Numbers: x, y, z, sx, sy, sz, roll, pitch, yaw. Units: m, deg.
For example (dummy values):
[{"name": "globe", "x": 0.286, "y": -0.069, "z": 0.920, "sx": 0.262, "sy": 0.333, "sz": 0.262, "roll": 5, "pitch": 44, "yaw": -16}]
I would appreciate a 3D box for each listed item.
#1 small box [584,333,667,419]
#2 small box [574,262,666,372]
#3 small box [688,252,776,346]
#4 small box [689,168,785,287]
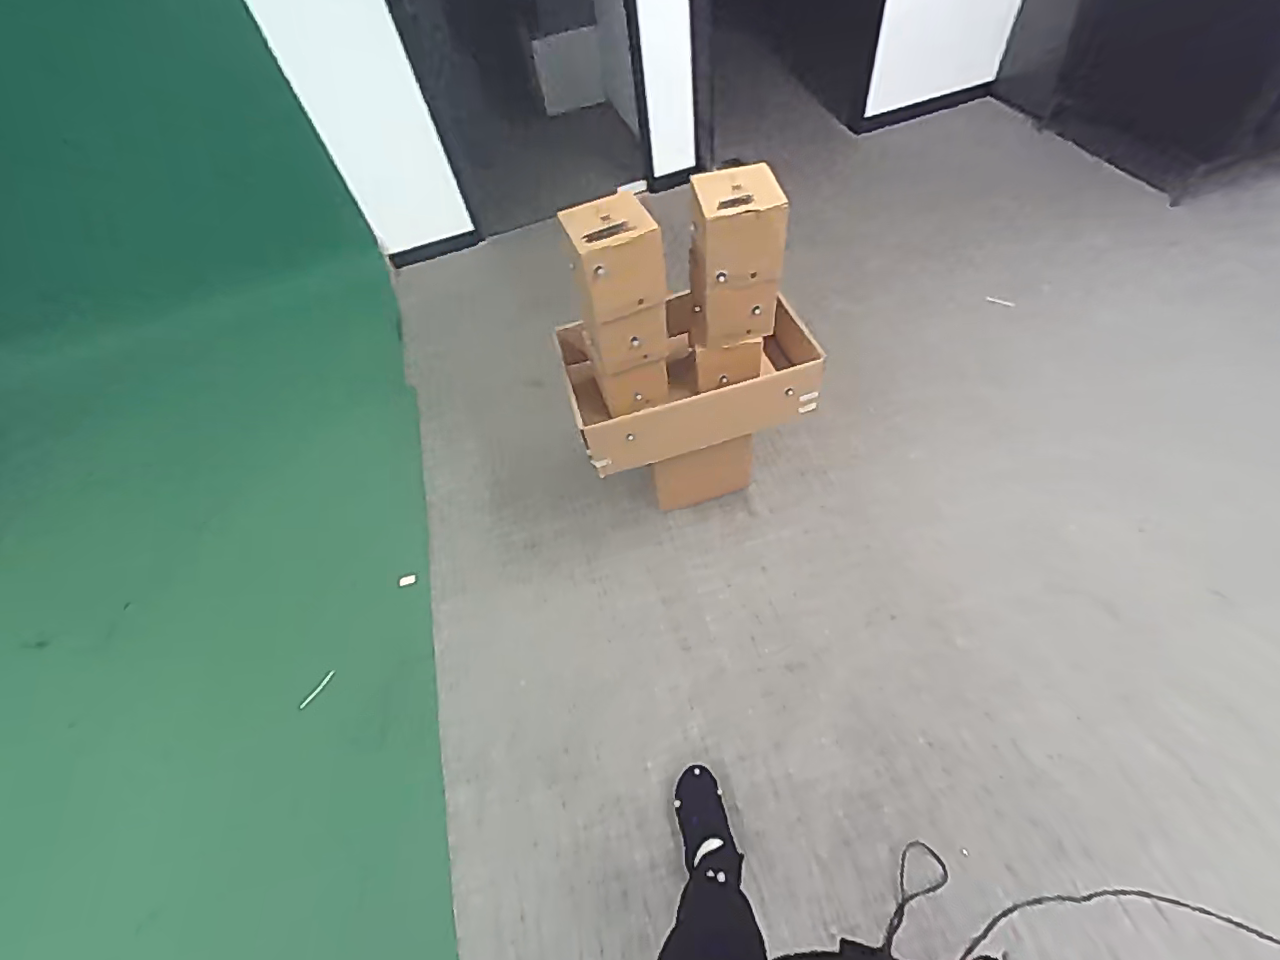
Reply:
[{"name": "small box", "x": -0.036, "y": -0.292, "z": 1.425, "sx": 0.168, "sy": 0.176, "sz": 0.179, "roll": -20, "pitch": 55, "yaw": -5}, {"name": "small box", "x": -0.042, "y": -0.378, "z": 1.285, "sx": 0.168, "sy": 0.176, "sz": 0.179, "roll": -19, "pitch": 55, "yaw": -6}, {"name": "small box", "x": 0.217, "y": -0.440, "z": 1.295, "sx": 0.168, "sy": 0.176, "sz": 0.179, "roll": -12, "pitch": 54, "yaw": -1}, {"name": "small box", "x": 0.203, "y": -0.533, "z": 1.161, "sx": 0.168, "sy": 0.176, "sz": 0.179, "roll": -9, "pitch": 54, "yaw": 1}]
